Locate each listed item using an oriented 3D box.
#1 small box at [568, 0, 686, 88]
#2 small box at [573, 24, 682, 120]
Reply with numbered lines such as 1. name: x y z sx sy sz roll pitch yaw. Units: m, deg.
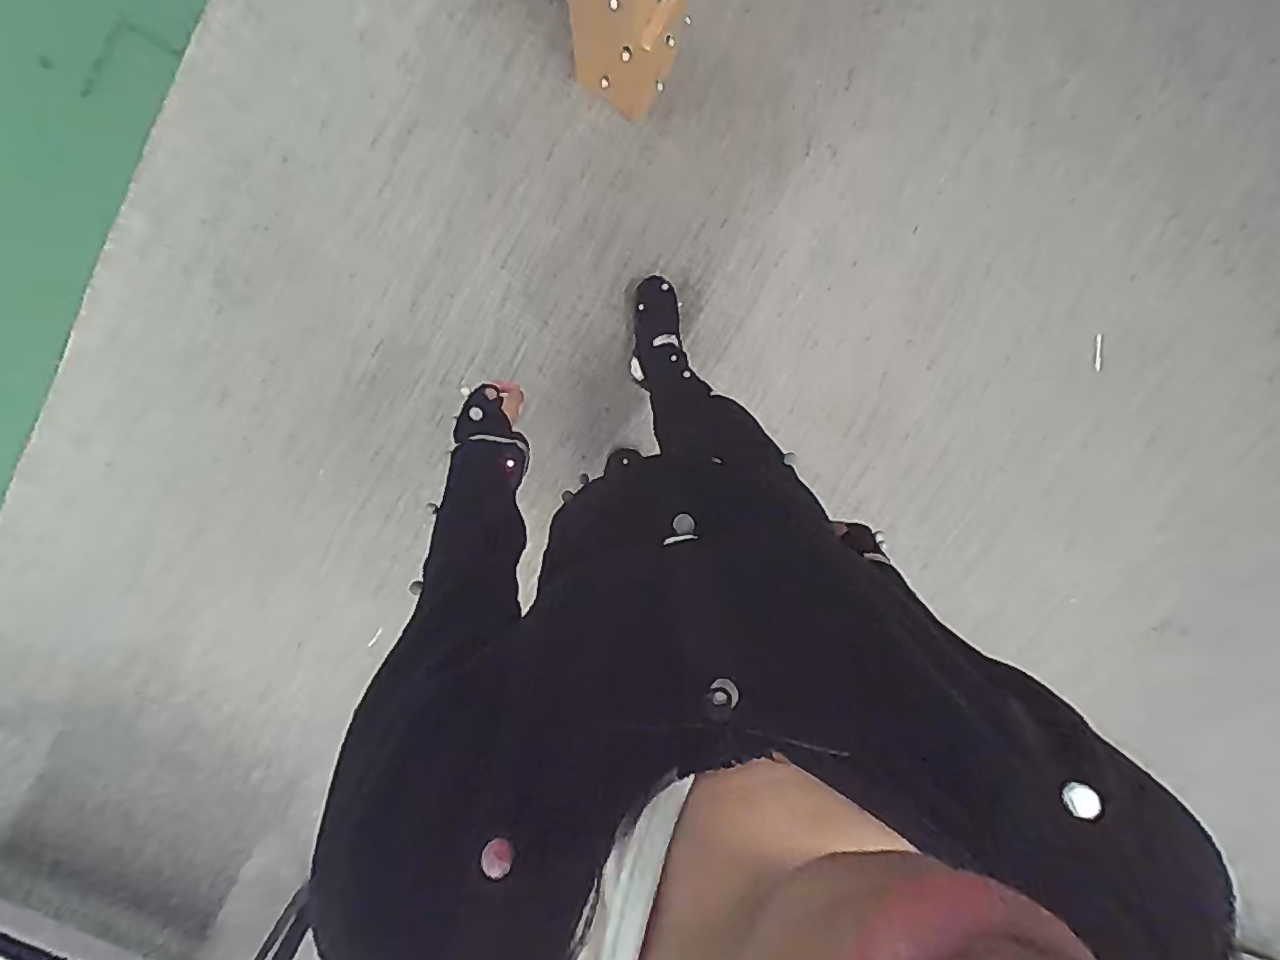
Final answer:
1. small box: -0.019 -0.902 1.036 0.179 0.176 0.168 30 99 -8
2. small box: -0.028 -0.942 1.196 0.179 0.176 0.168 29 100 -8
